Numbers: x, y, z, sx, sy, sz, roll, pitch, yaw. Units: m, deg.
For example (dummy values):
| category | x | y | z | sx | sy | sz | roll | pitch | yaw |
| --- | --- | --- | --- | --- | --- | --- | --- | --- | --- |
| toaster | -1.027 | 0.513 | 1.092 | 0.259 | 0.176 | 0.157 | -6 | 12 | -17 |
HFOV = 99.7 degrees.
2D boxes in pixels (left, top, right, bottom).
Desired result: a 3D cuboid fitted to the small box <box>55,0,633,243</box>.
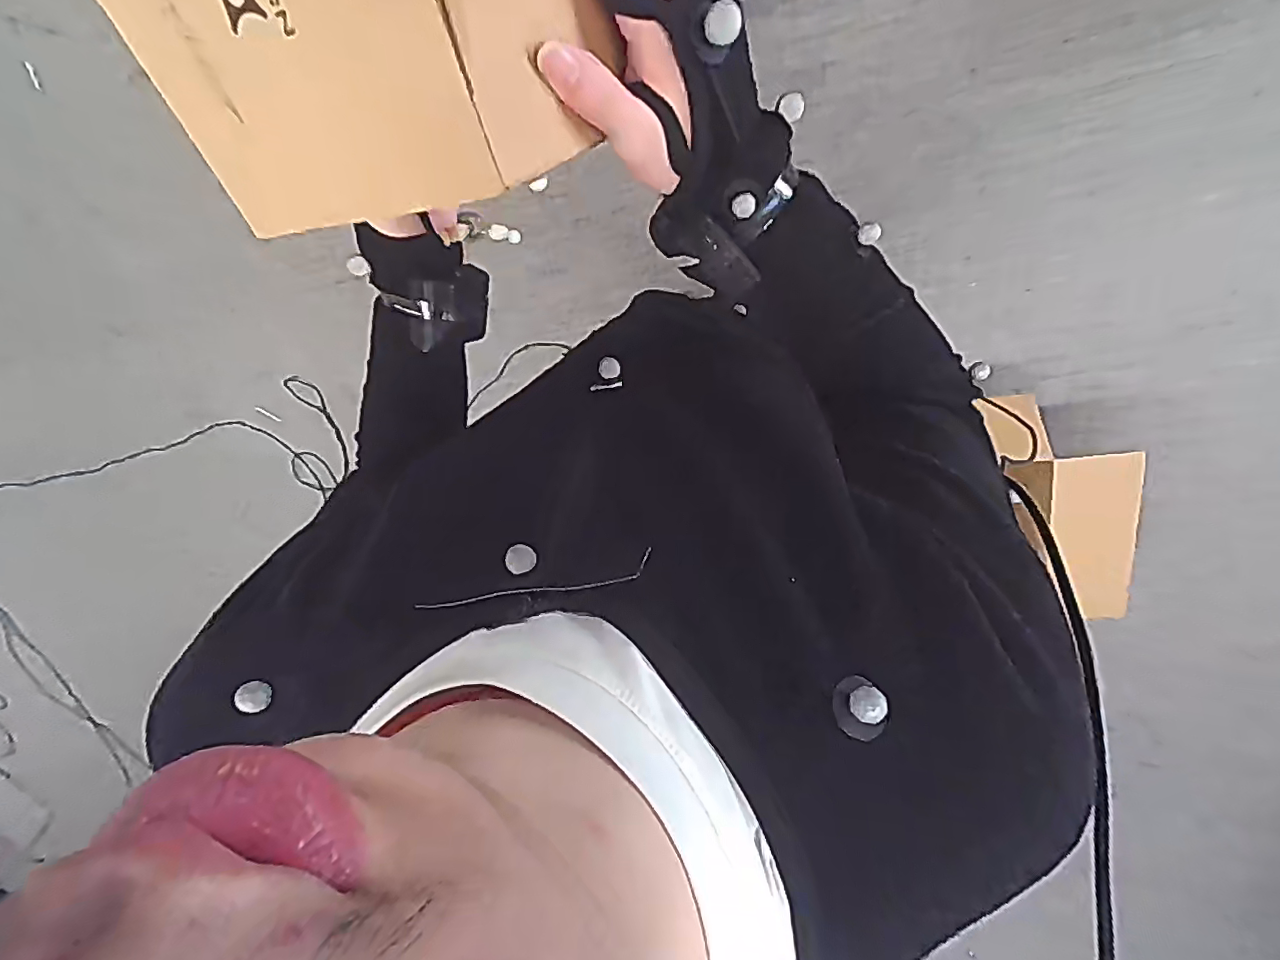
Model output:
| category | x | y | z | sx | sy | sz | roll | pitch | yaw |
| --- | --- | --- | --- | --- | --- | --- | --- | --- | --- |
| small box | -0.117 | -0.224 | 0.233 | 0.179 | 0.176 | 0.168 | 7 | 135 | 28 |

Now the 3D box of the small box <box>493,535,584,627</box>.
| category | x | y | z | sx | sy | sz | roll | pitch | yaw |
| --- | --- | --- | --- | --- | --- | --- | --- | --- | --- |
| small box | -0.271 | 0.276 | 1.495 | 0.168 | 0.176 | 0.179 | -14 | 108 | 15 |
